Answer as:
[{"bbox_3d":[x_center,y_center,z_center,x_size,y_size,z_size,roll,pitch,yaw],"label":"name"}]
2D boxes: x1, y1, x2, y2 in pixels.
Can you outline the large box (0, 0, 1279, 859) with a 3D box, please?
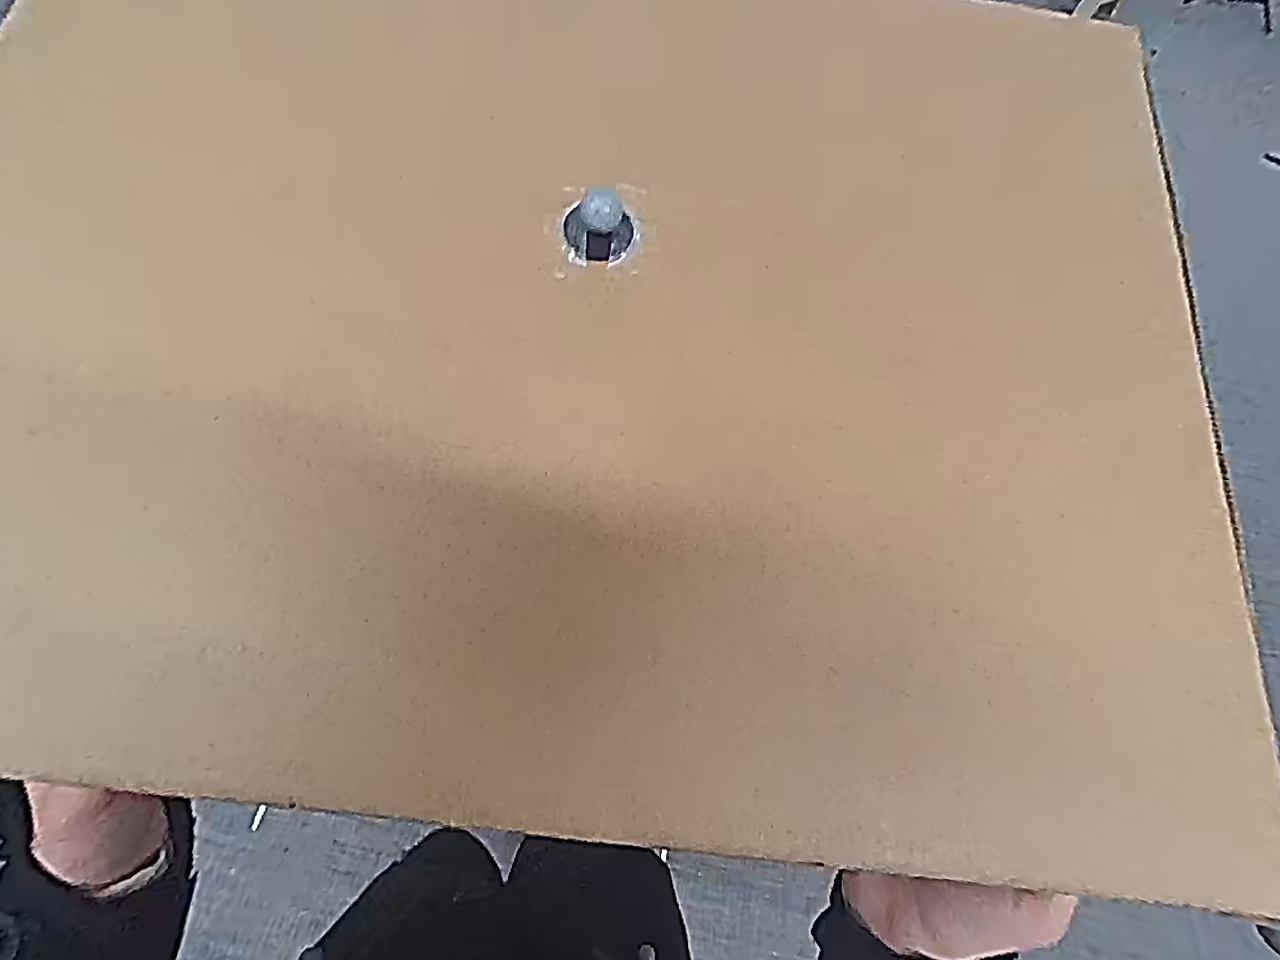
[{"bbox_3d":[-0.024,-0.036,0.311,0.408,0.320,0.320,8,75,-2],"label":"large box"}]
